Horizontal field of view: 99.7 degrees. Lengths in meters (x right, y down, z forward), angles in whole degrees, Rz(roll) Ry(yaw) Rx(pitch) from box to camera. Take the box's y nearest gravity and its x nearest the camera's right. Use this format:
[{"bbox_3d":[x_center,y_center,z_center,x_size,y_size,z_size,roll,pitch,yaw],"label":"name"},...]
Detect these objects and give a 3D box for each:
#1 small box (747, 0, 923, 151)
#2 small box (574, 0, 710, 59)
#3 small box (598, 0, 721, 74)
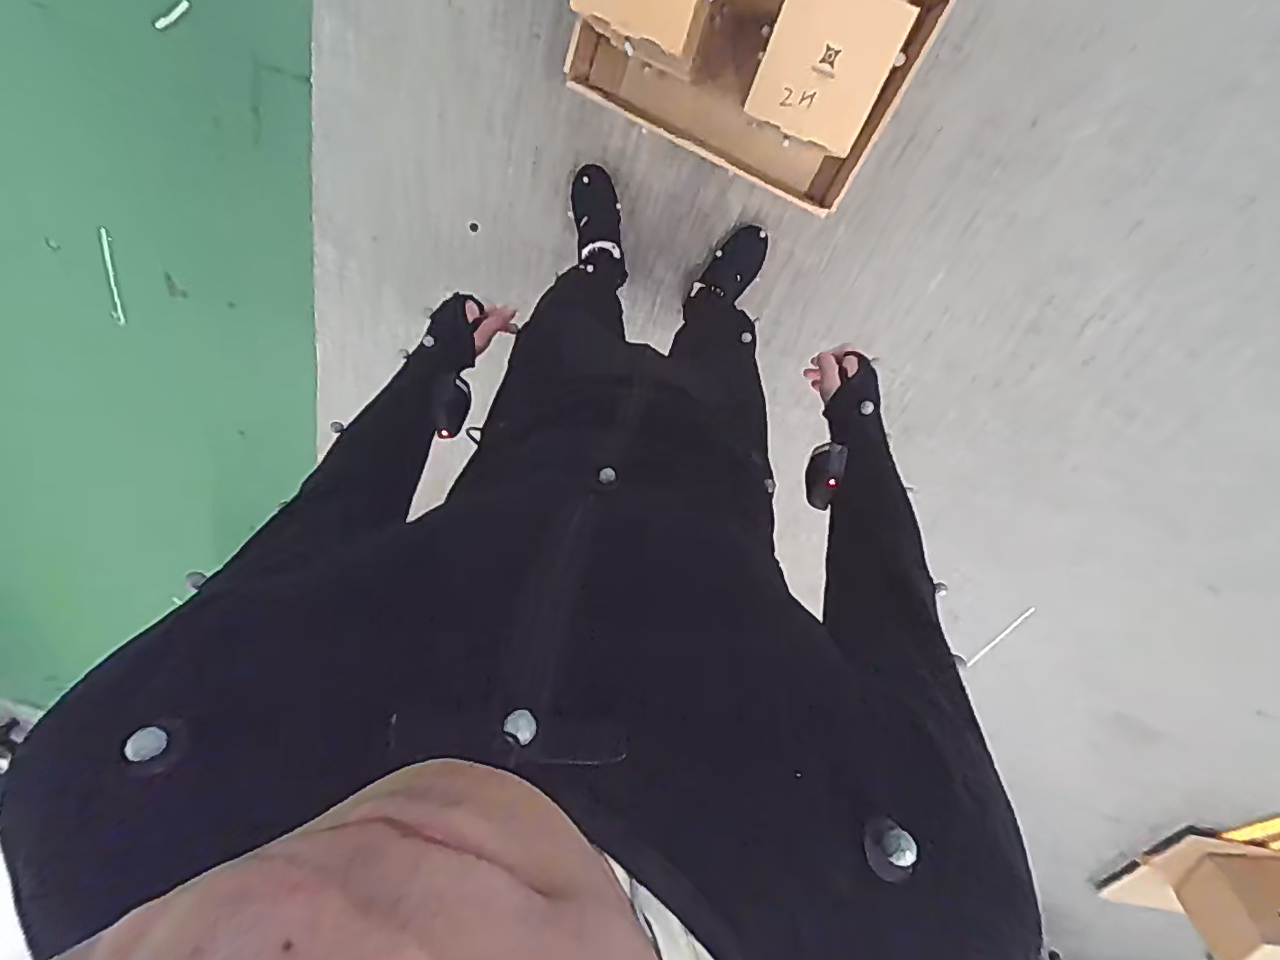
[{"bbox_3d":[0.263,-0.603,0.781,0.168,0.176,0.179,22,124,-3],"label":"small box"},{"bbox_3d":[0.021,-0.725,0.752,0.168,0.176,0.179,21,124,-4],"label":"small box"},{"bbox_3d":[0.043,-0.809,0.889,0.168,0.176,0.179,23,122,-3],"label":"small box"}]
